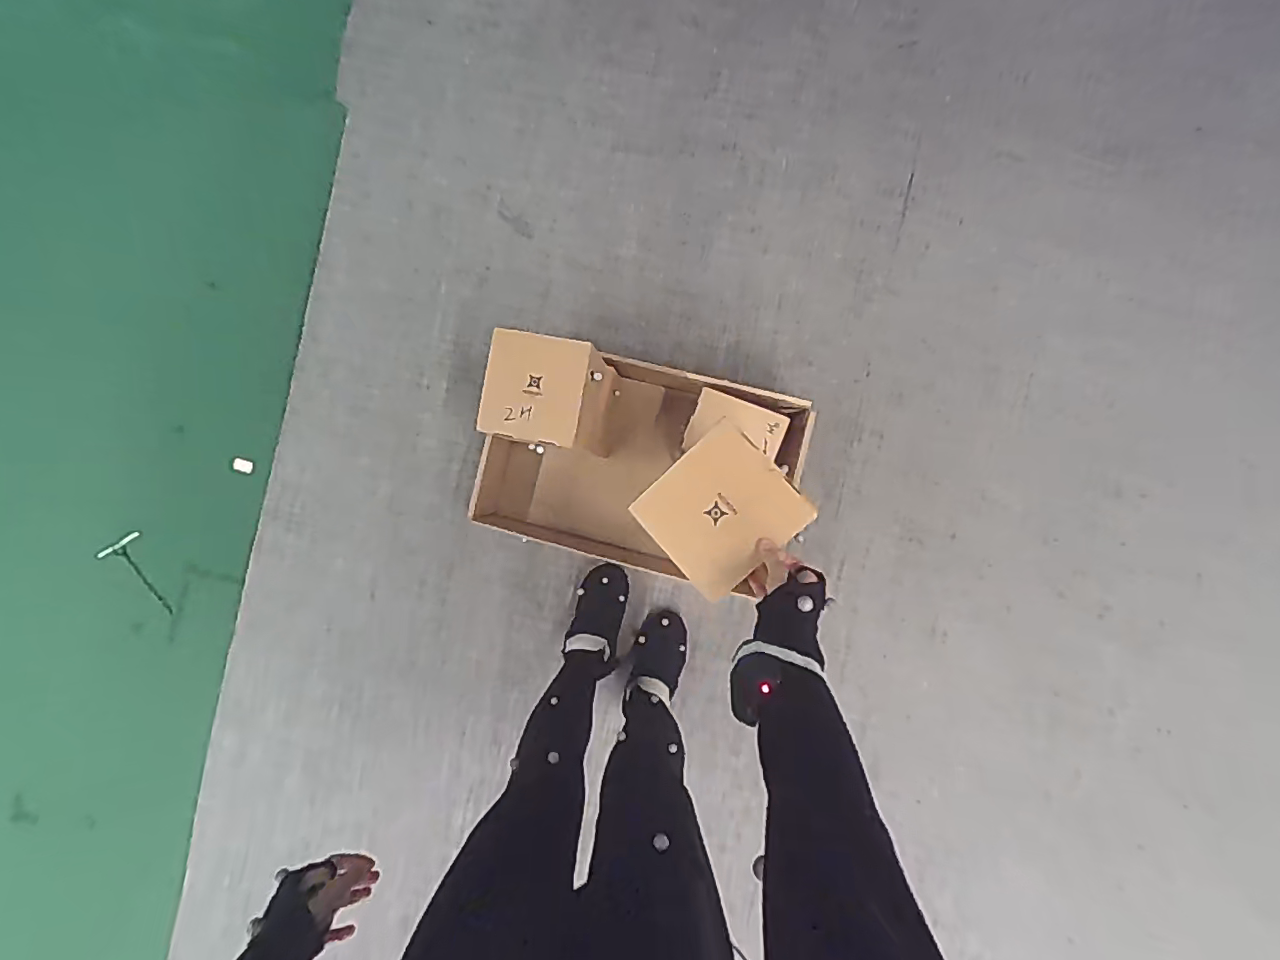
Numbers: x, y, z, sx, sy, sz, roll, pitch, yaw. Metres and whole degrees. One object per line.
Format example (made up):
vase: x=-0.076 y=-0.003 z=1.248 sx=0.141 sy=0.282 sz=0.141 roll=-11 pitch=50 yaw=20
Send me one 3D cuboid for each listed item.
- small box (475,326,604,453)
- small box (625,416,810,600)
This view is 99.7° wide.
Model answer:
small box: x=-0.166 y=-0.150 z=0.953 sx=0.168 sy=0.176 sz=0.179 roll=12 pitch=91 yaw=6
small box: x=0.113 y=0.038 z=0.747 sx=0.179 sy=0.176 sz=0.168 roll=-41 pitch=79 yaw=10
